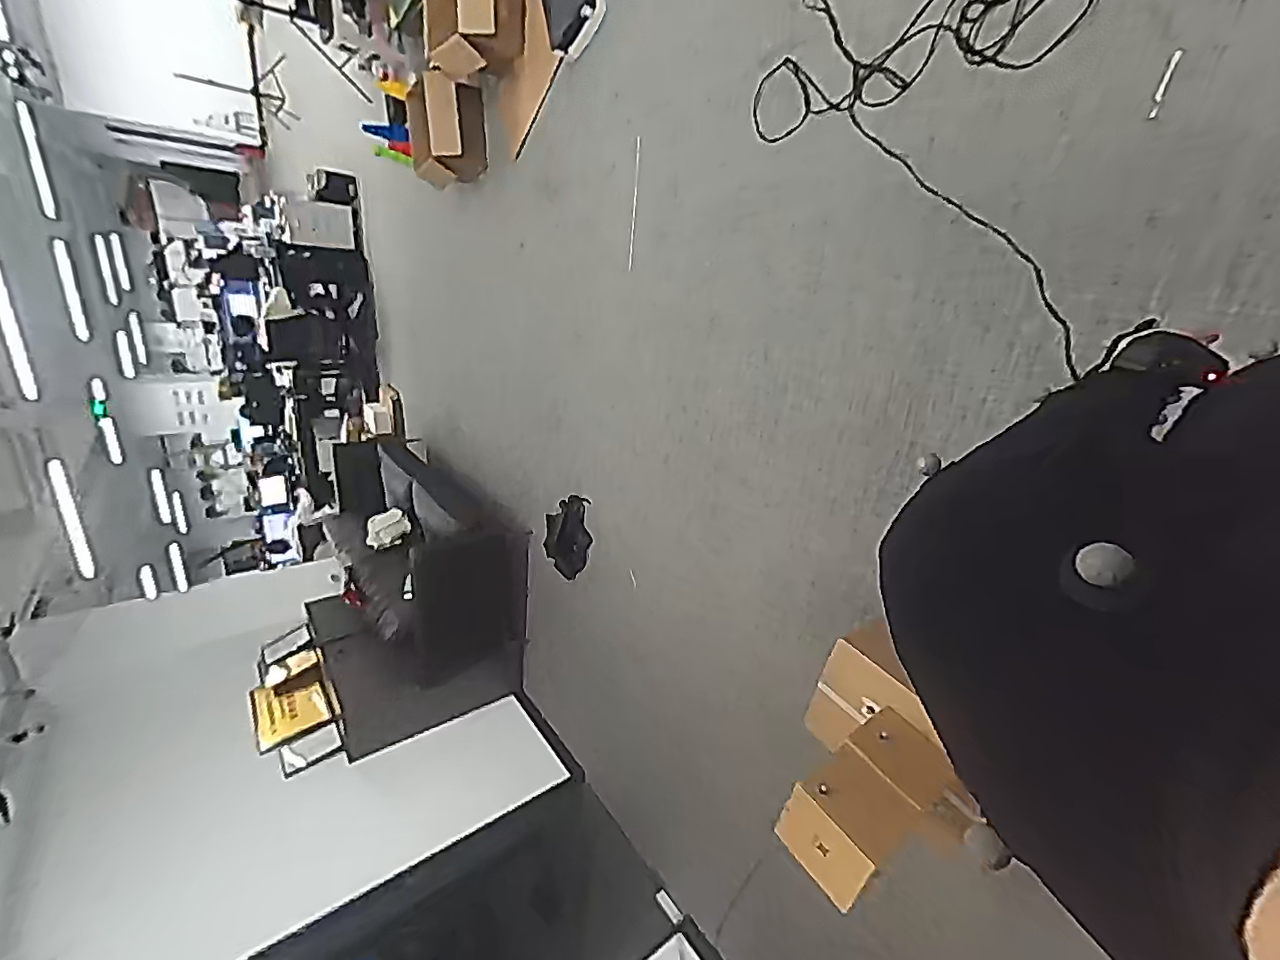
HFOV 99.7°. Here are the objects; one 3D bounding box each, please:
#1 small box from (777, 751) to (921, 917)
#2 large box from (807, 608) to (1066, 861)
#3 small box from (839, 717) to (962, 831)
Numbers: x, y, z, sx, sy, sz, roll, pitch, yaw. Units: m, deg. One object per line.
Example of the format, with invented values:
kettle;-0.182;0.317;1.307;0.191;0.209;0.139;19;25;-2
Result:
small box;0.404;0.671;1.046;0.179;0.176;0.168;38;128;43
large box;0.698;0.582;1.314;0.408;0.320;0.320;38;126;43
small box;0.531;0.631;1.139;0.179;0.176;0.168;37;128;41
